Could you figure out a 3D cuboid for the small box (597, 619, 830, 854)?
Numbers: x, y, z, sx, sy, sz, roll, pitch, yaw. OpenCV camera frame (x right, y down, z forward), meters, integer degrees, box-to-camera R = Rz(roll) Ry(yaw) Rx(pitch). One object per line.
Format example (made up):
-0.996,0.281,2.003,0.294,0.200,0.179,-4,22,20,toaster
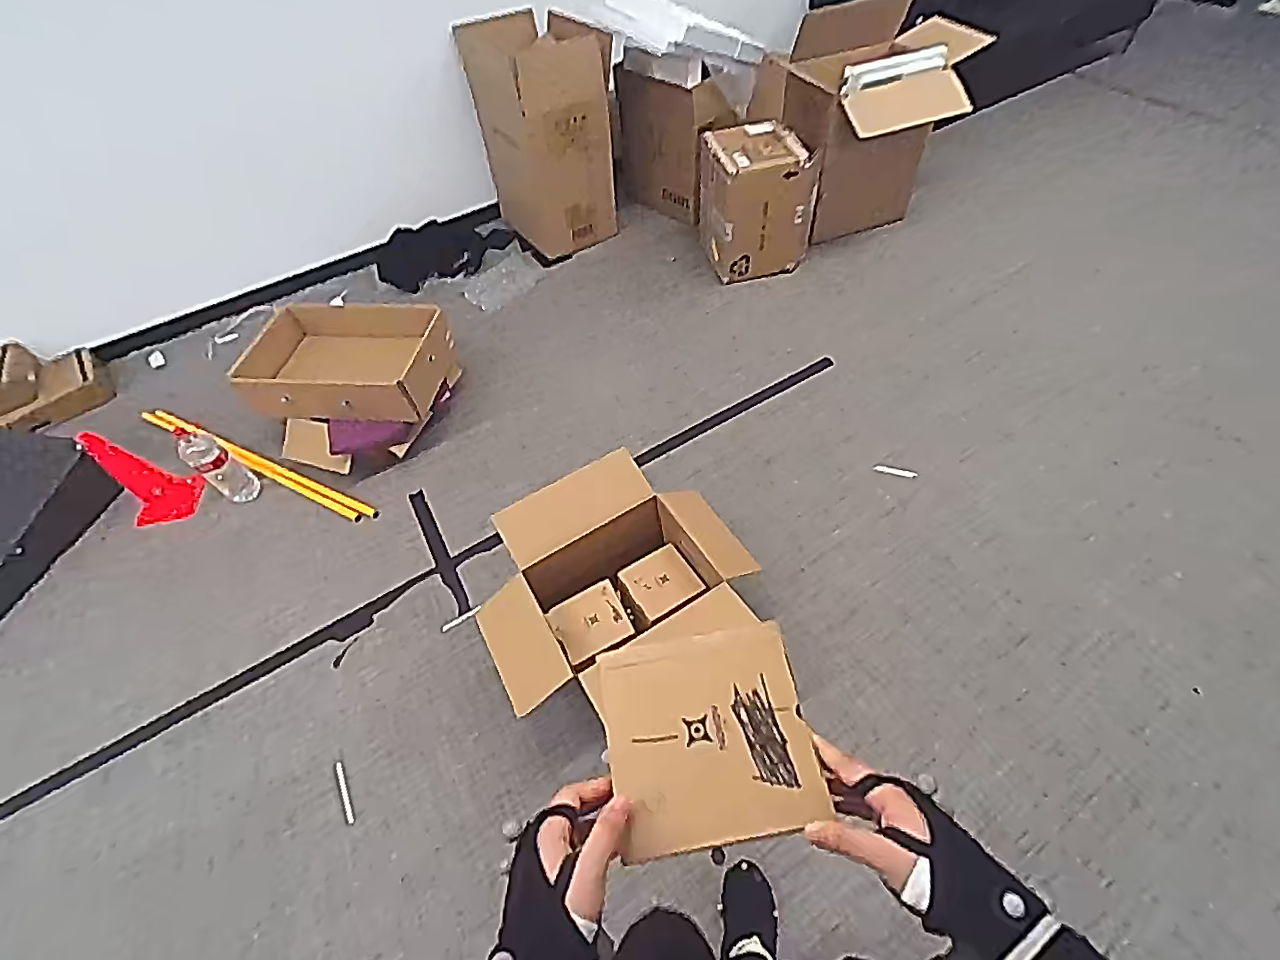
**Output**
0.061,0.255,0.538,0.179,0.176,0.168,-10,58,-1,small box
